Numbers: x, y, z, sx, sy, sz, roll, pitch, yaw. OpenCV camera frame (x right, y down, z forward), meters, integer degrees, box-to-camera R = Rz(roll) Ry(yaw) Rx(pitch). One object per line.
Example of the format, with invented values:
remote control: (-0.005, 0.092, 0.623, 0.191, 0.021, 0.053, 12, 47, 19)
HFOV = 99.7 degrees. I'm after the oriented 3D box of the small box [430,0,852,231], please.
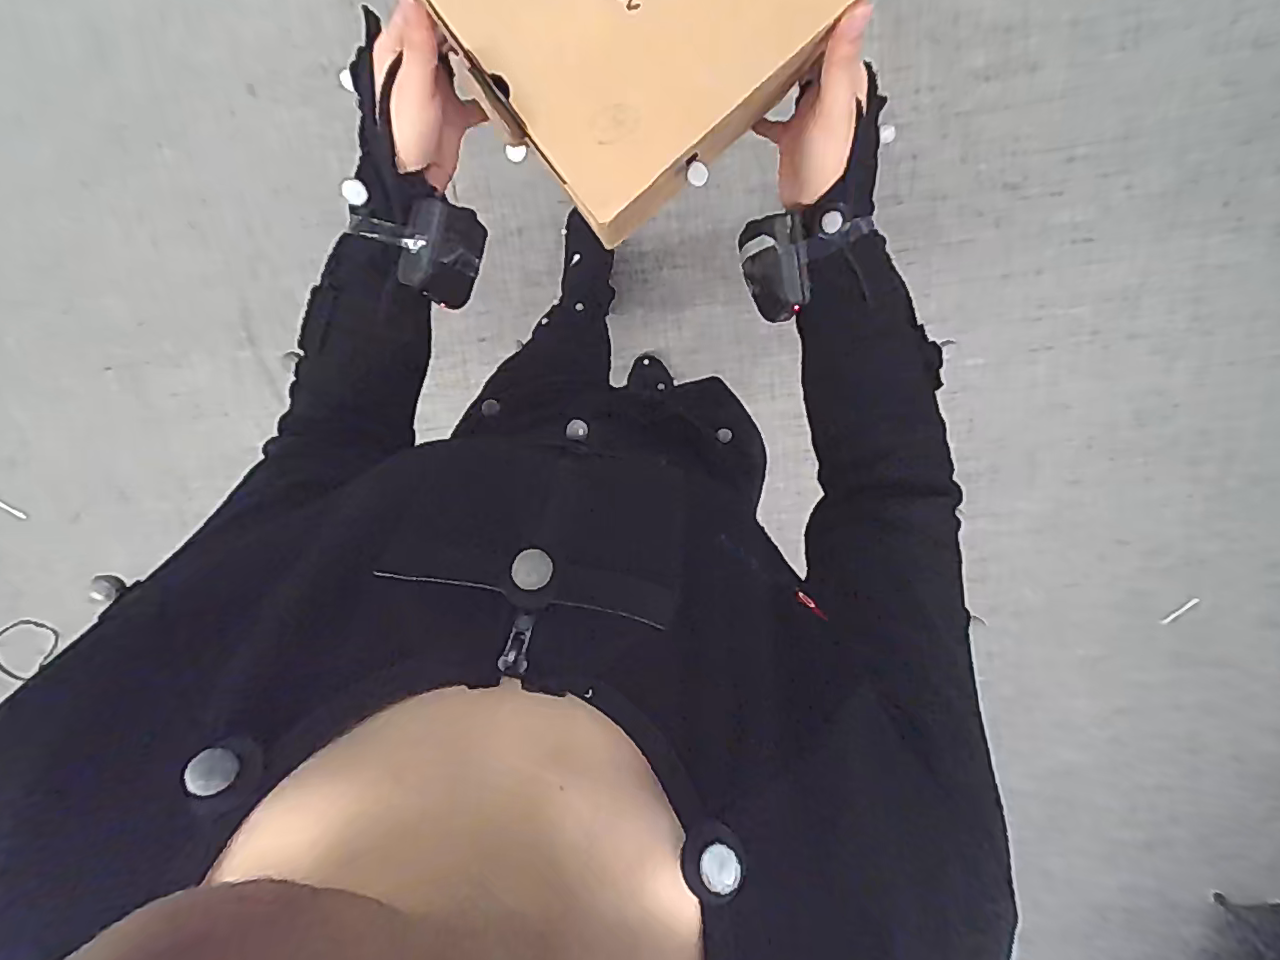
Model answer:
small box: (-0.004, -0.282, 0.339, 0.179, 0.176, 0.168, -37, 107, 12)
